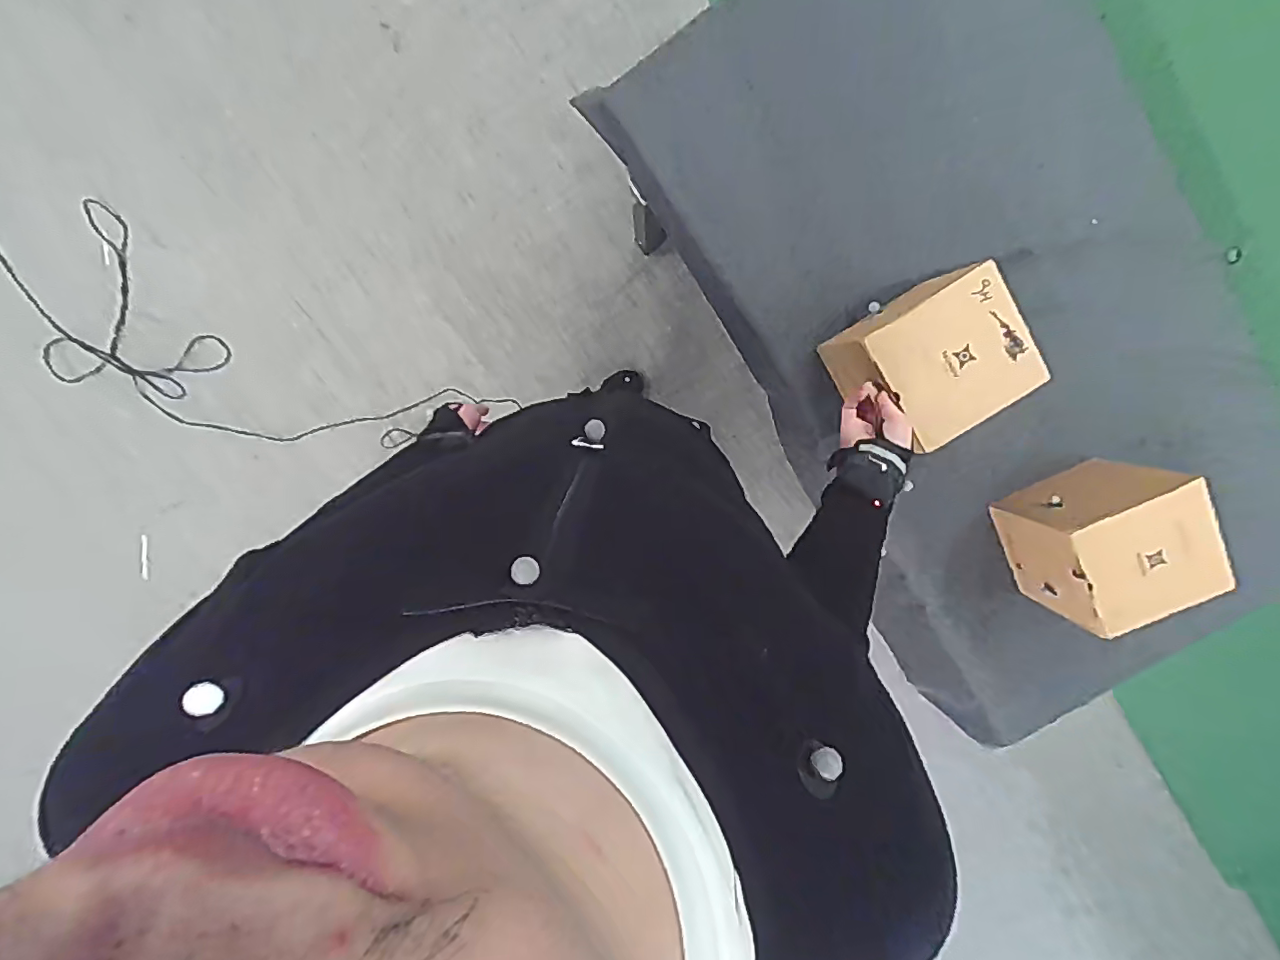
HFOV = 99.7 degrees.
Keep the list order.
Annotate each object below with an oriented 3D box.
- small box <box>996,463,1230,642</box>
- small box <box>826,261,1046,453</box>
[{"bbox_3d":[0.645,0.092,0.764,0.179,0.176,0.168,-25,100,3],"label":"small box"},{"bbox_3d":[0.371,-0.155,0.720,0.179,0.176,0.168,-31,99,5],"label":"small box"}]
